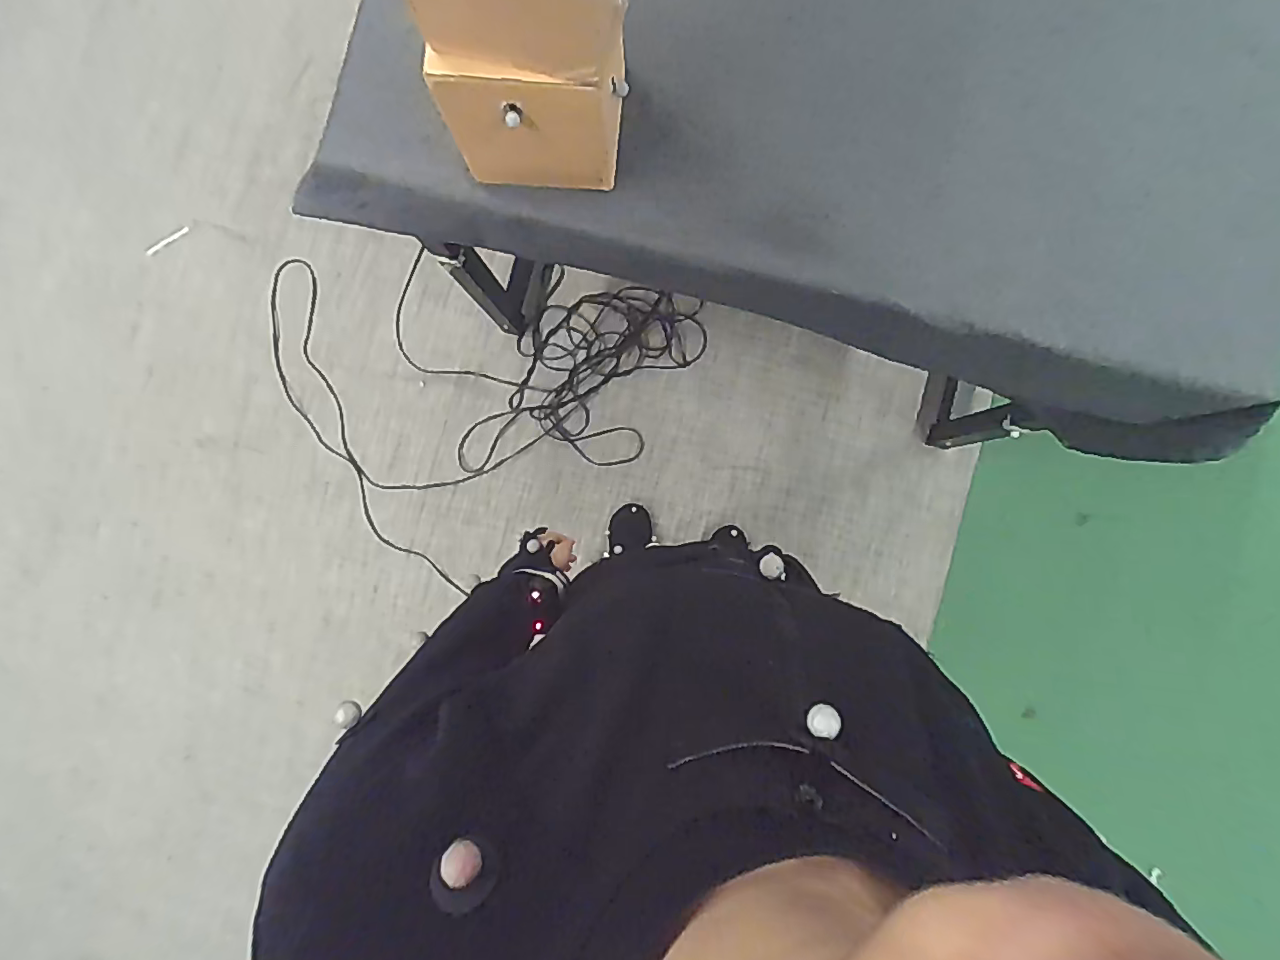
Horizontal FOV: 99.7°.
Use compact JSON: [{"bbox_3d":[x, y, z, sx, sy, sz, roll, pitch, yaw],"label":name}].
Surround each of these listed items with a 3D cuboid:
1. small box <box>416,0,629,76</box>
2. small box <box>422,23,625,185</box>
[{"bbox_3d":[-0.098,-0.471,0.430,0.179,0.176,0.168,14,88,2],"label":"small box"},{"bbox_3d":[-0.112,-0.452,0.593,0.179,0.176,0.168,5,87,2],"label":"small box"}]
